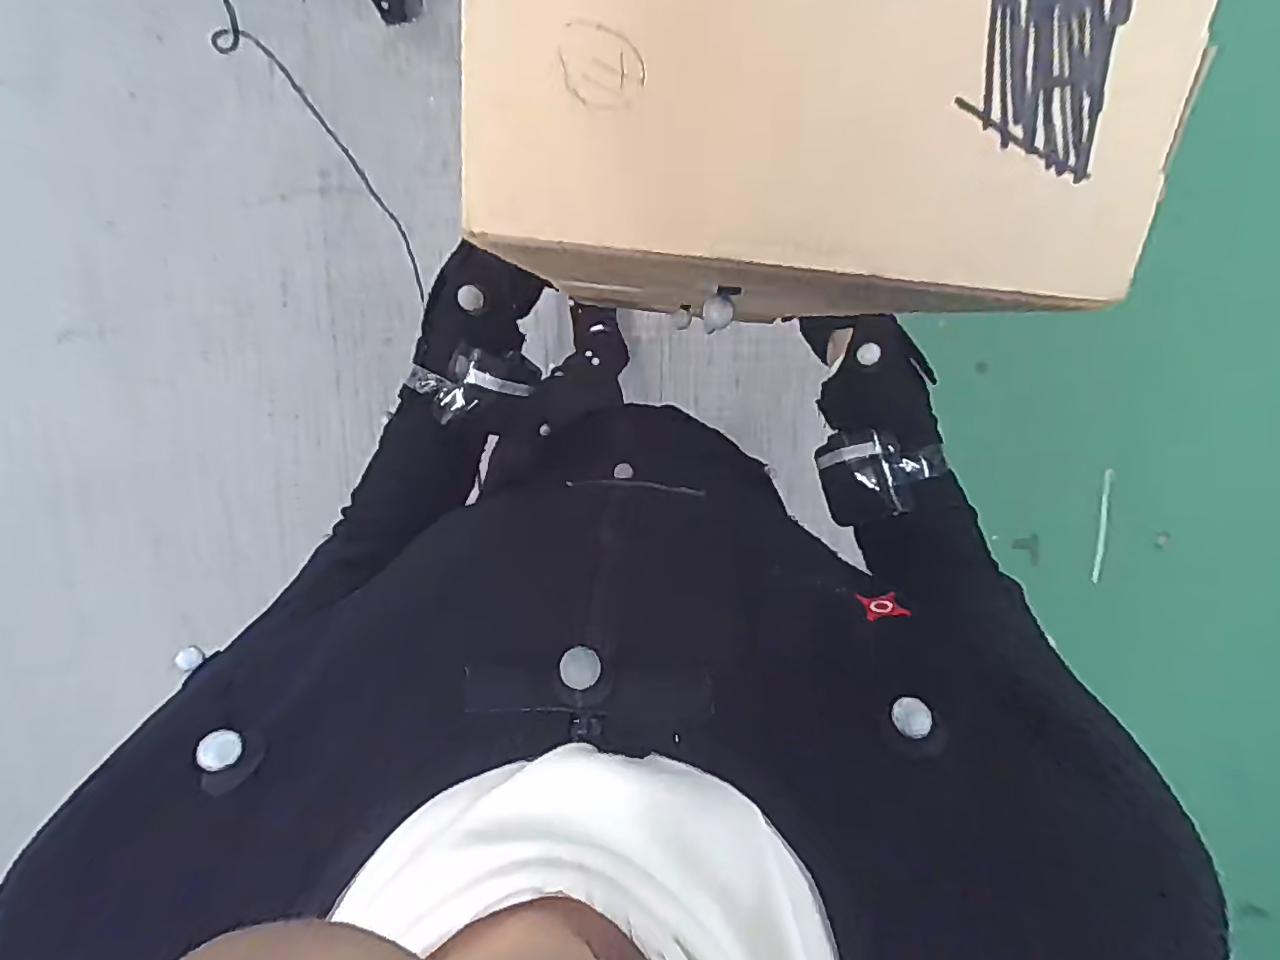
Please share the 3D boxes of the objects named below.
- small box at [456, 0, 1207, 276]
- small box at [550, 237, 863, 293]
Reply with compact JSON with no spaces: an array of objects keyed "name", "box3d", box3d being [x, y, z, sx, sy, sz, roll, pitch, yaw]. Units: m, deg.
[{"name":"small box","box3d":[0.047,-0.169,0.189,0.179,0.176,0.168,5,107,-4]},{"name":"small box","box3d":[0.041,-0.216,0.346,0.179,0.176,0.168,4,106,-5]}]
